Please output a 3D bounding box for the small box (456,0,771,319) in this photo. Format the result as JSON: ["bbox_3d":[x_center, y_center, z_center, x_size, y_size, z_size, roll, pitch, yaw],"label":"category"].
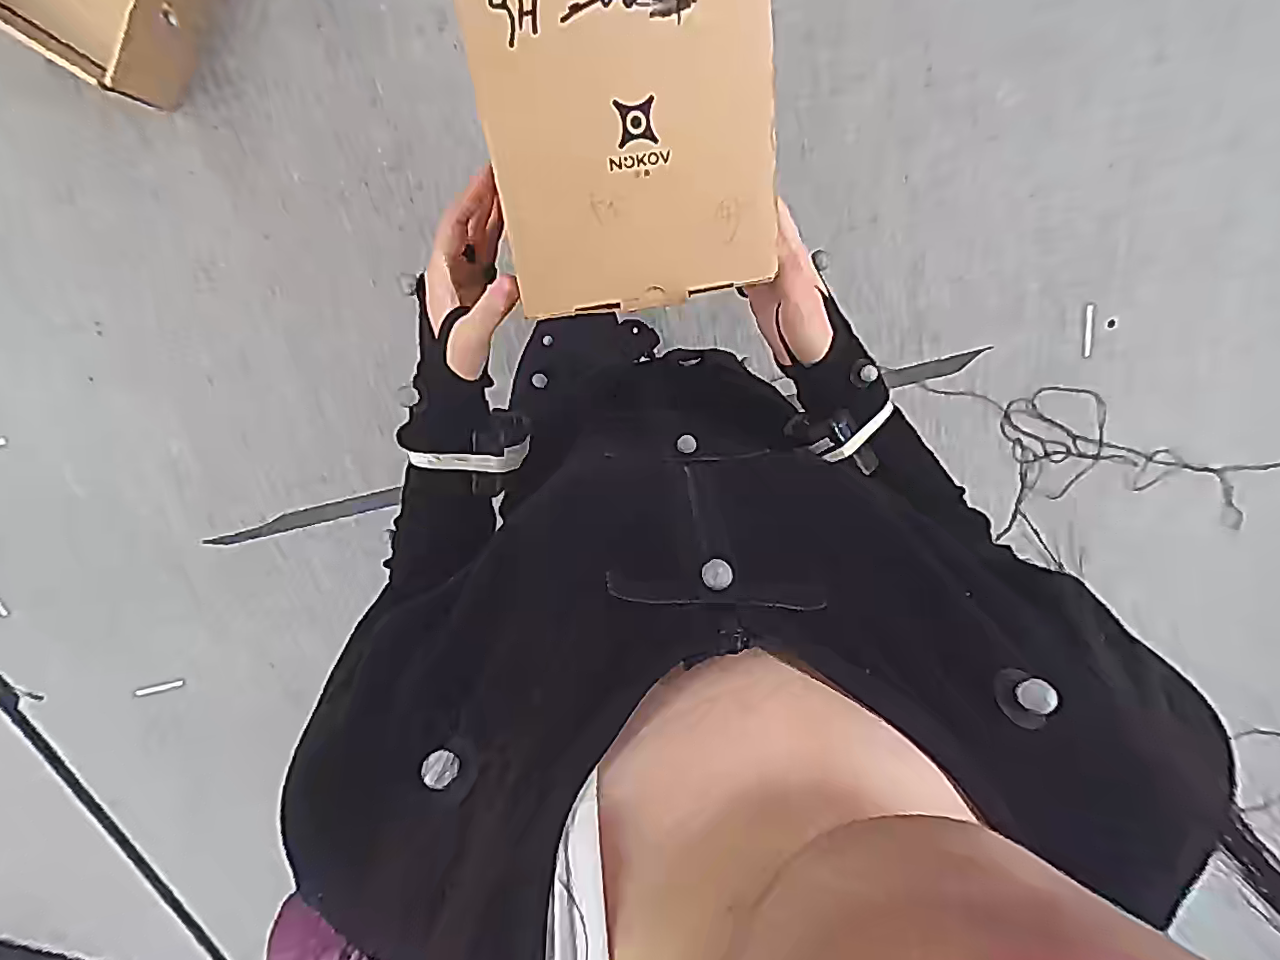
[{"bbox_3d":[-0.018,-0.226,0.379,0.168,0.176,0.179,-12,117,-7],"label":"small box"}]
